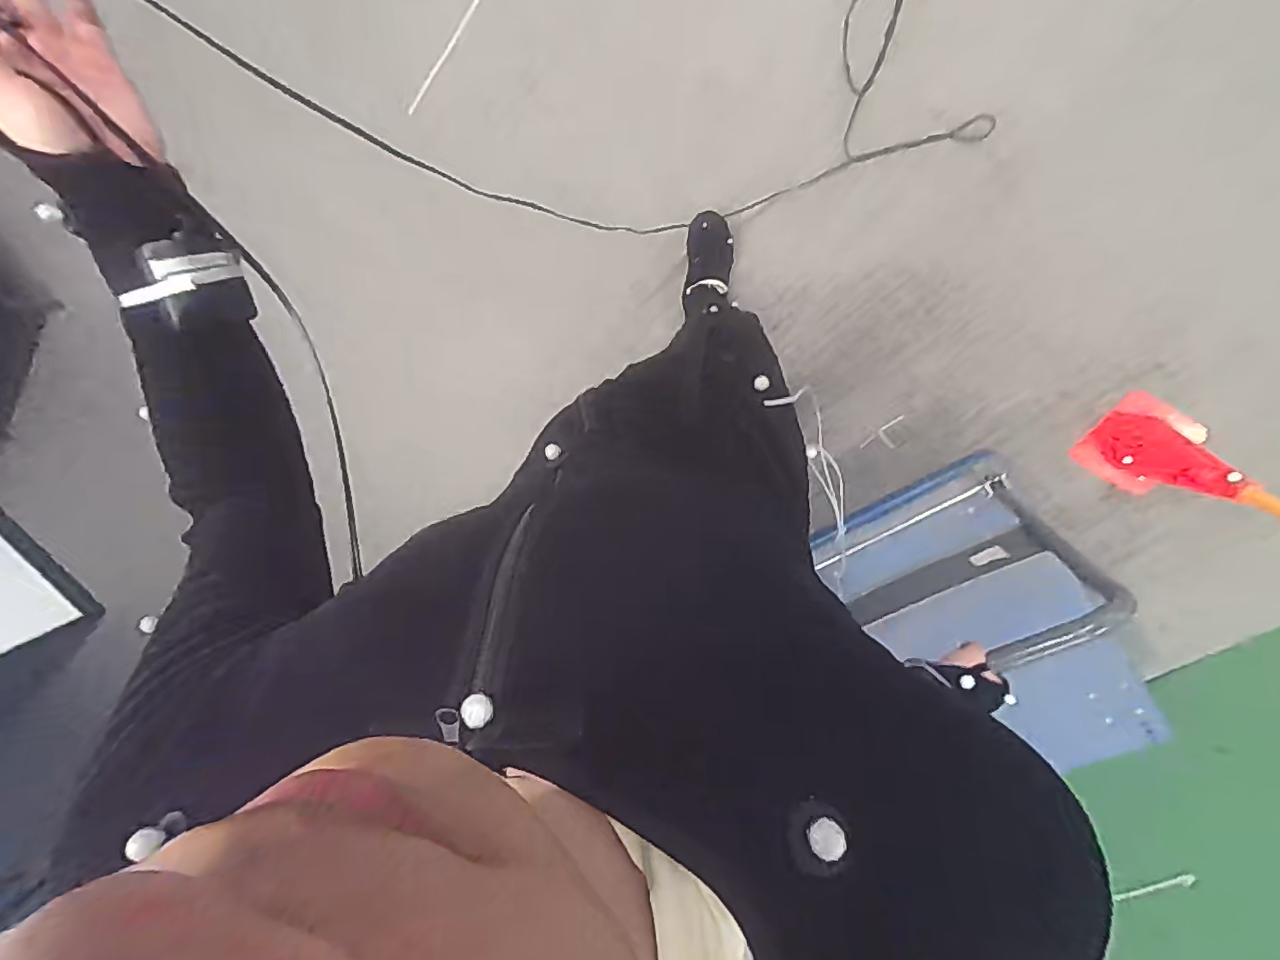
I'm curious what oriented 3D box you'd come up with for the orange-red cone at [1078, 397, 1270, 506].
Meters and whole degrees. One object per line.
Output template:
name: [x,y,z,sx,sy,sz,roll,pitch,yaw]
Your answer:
orange-red cone: [1.150,-0.024,1.128,0.198,0.360,0.199,34,113,2]
